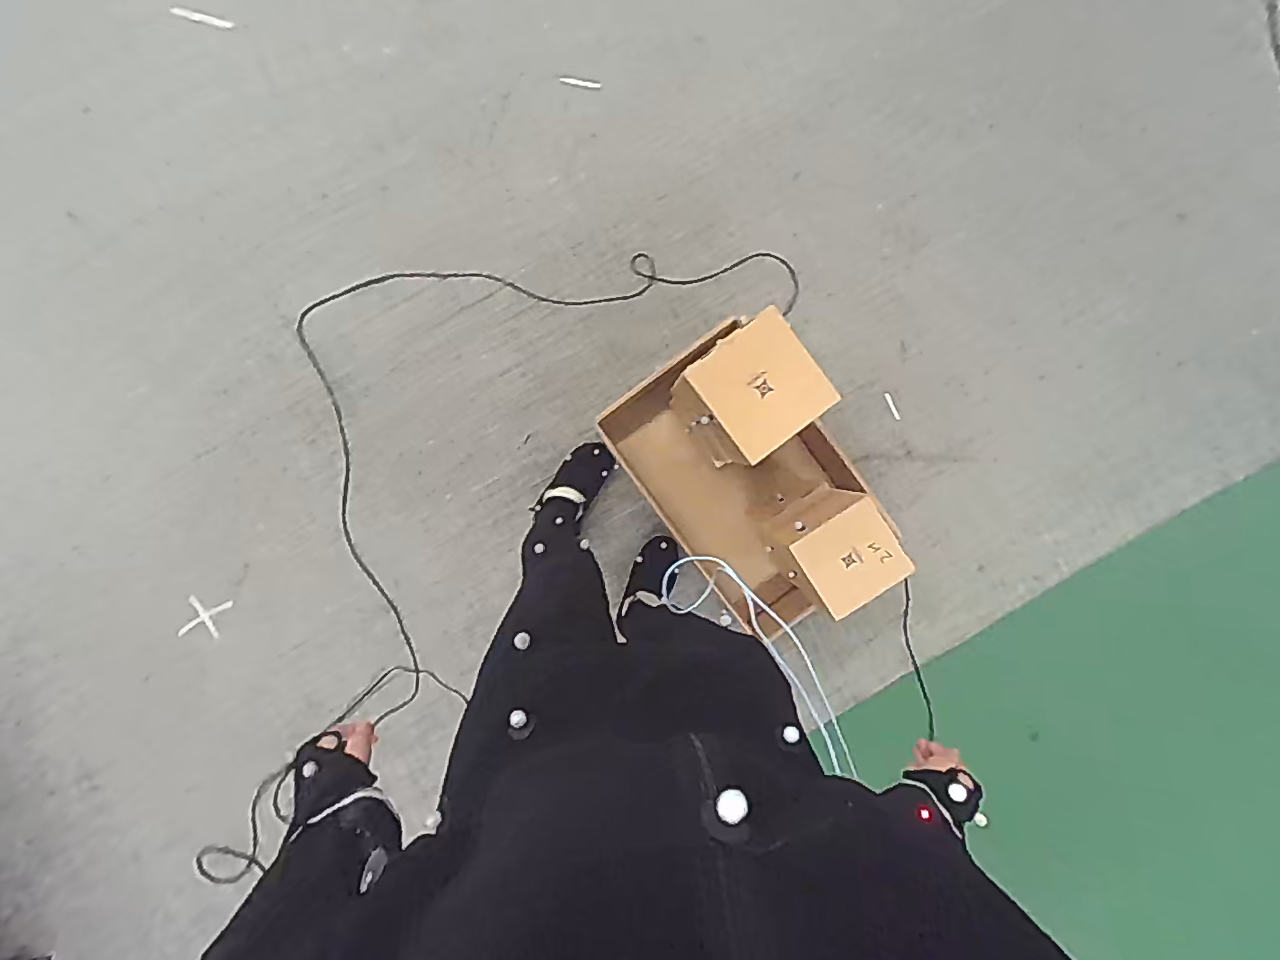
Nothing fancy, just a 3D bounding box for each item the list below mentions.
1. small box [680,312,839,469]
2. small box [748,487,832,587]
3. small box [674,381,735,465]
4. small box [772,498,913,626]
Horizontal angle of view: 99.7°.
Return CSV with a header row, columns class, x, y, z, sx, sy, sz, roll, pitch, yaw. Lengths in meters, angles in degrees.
class,x,y,z,sx,sy,sz,roll,pitch,yaw
small box,0.180,-0.135,0.873,0.168,0.176,0.179,-37,91,1
small box,0.363,0.131,1.209,0.168,0.176,0.179,-32,91,0
small box,0.177,-0.141,1.035,0.168,0.176,0.179,-32,93,1
small box,0.374,0.148,1.044,0.179,0.176,0.168,-32,93,-1
